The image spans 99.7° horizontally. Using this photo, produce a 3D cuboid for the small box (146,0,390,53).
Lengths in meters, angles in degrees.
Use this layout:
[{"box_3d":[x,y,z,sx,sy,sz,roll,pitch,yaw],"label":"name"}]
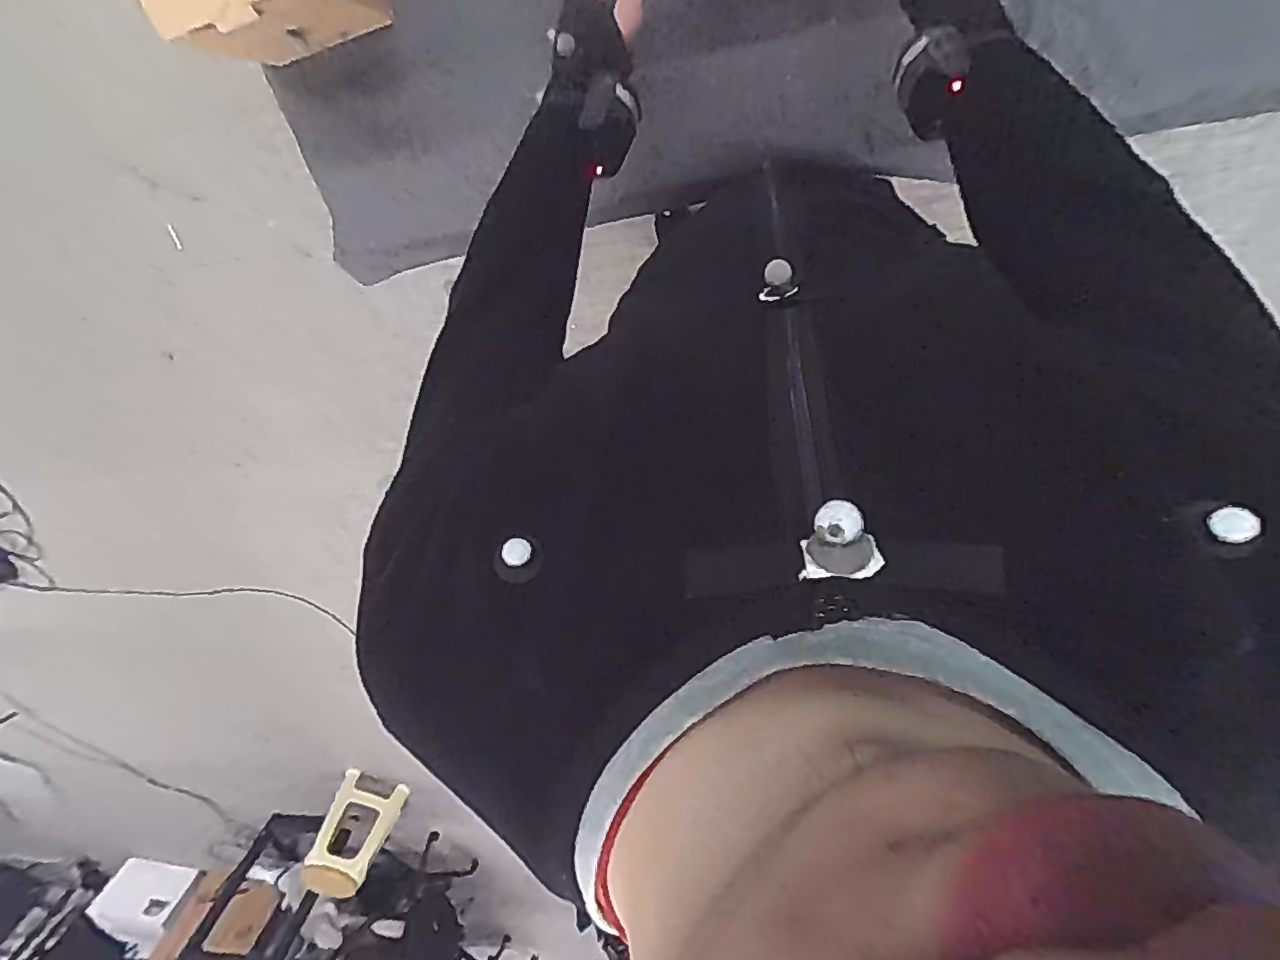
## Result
[{"box_3d":[-0.382,-0.543,0.522,0.168,0.176,0.179,-9,121,13],"label":"small box"}]
